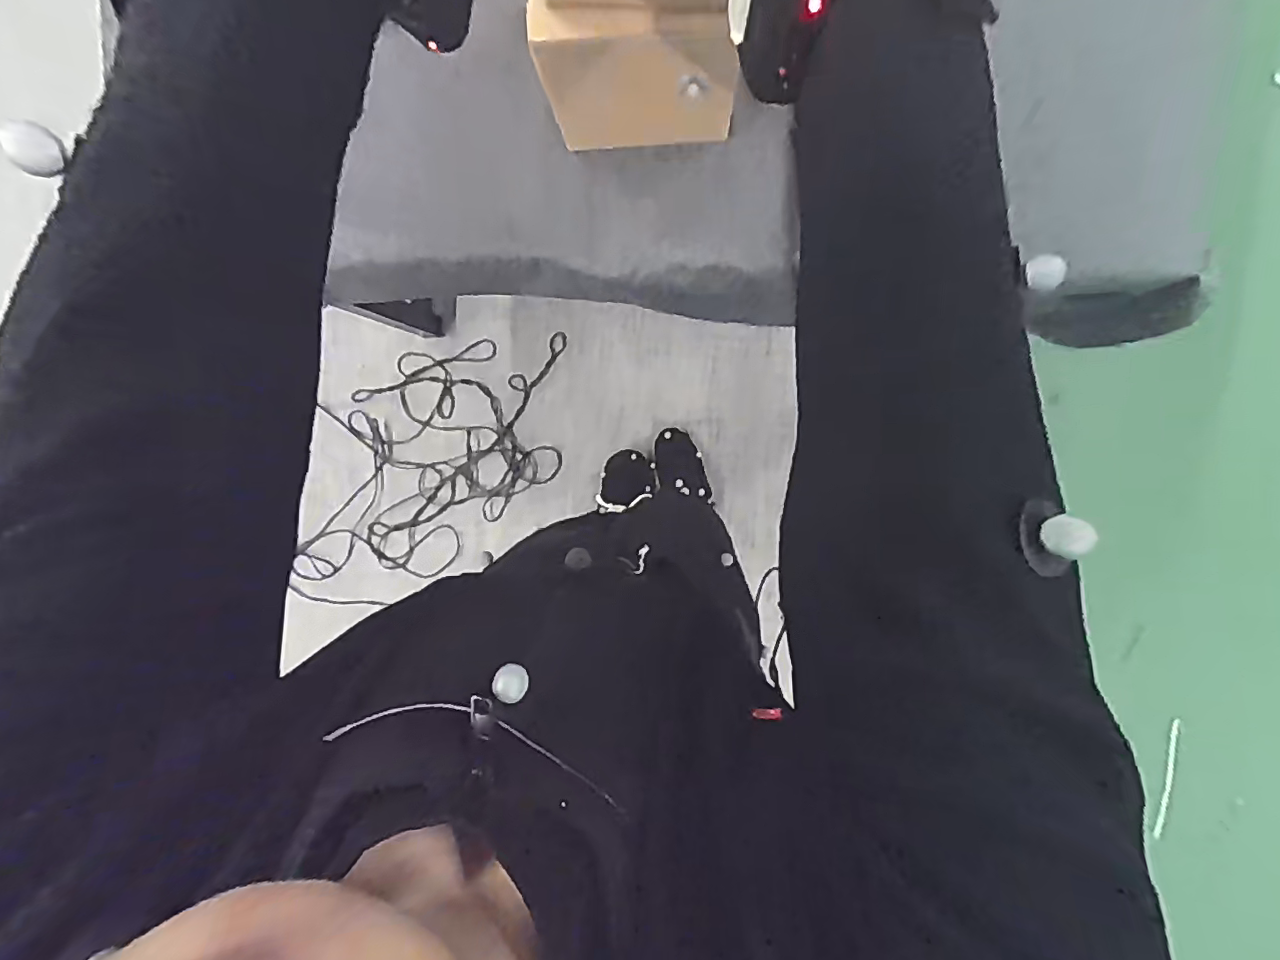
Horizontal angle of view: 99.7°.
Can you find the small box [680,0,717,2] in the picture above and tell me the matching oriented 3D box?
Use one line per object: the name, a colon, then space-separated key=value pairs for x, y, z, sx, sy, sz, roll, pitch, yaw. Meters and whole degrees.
small box: x=0.003 y=-0.429 z=0.319 sx=0.179 sy=0.176 sz=0.168 roll=4 pitch=102 yaw=3
